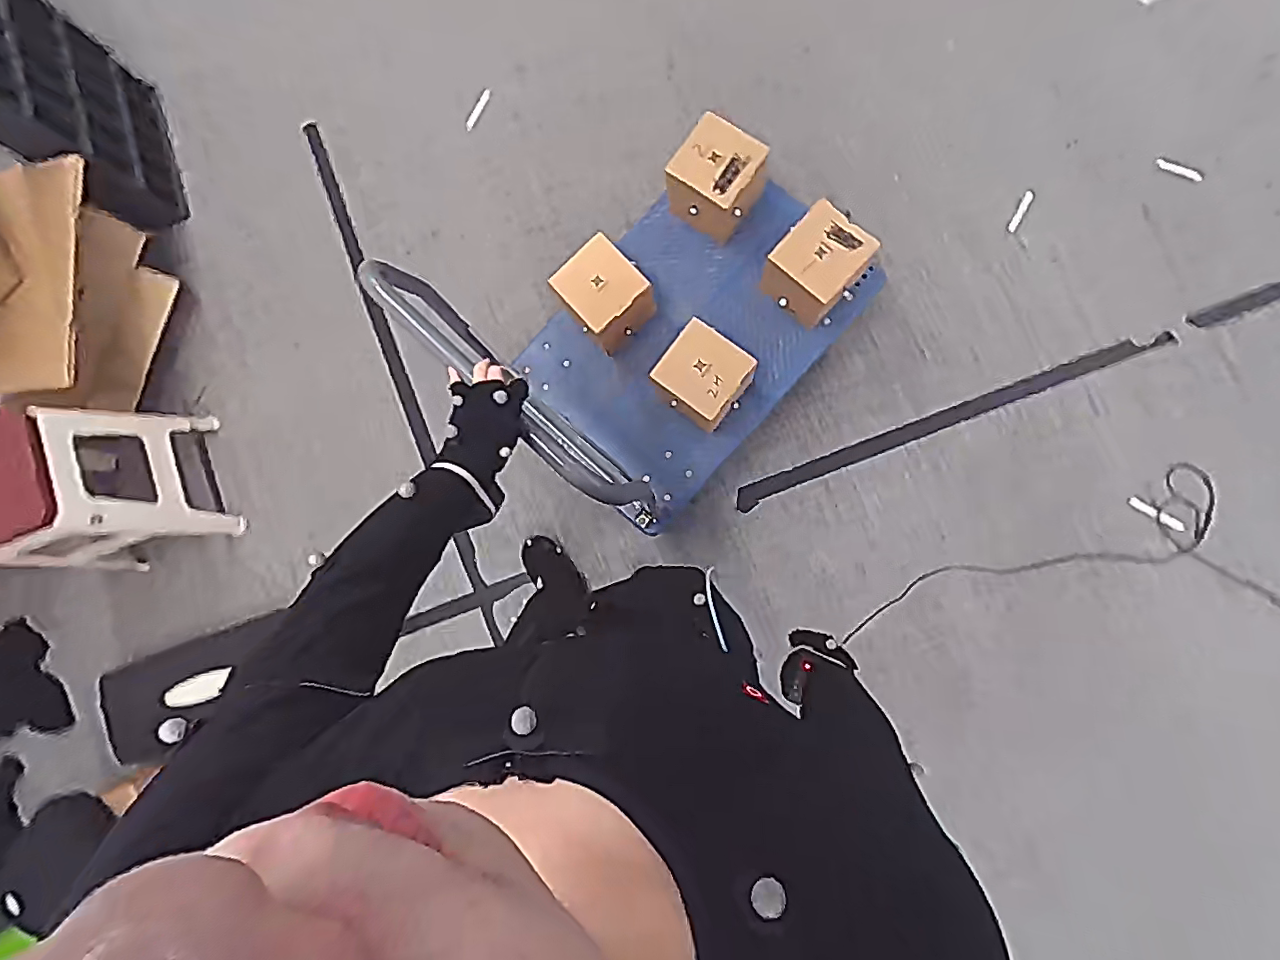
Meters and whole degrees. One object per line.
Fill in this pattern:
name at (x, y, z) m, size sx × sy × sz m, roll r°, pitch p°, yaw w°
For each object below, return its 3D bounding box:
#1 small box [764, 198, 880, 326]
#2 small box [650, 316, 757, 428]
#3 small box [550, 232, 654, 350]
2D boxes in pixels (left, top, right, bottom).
small box at (0.403, -0.488, 1.236) m, size 0.168 × 0.176 × 0.179 m, roll 43°, pitch 93°, yaw 8°
small box at (0.145, -0.239, 1.250) m, size 0.179 × 0.176 × 0.168 m, roll 38°, pitch 91°, yaw 8°
small box at (-0.084, -0.440, 1.292) m, size 0.168 × 0.176 × 0.179 m, roll -43°, pitch 84°, yaw 2°
